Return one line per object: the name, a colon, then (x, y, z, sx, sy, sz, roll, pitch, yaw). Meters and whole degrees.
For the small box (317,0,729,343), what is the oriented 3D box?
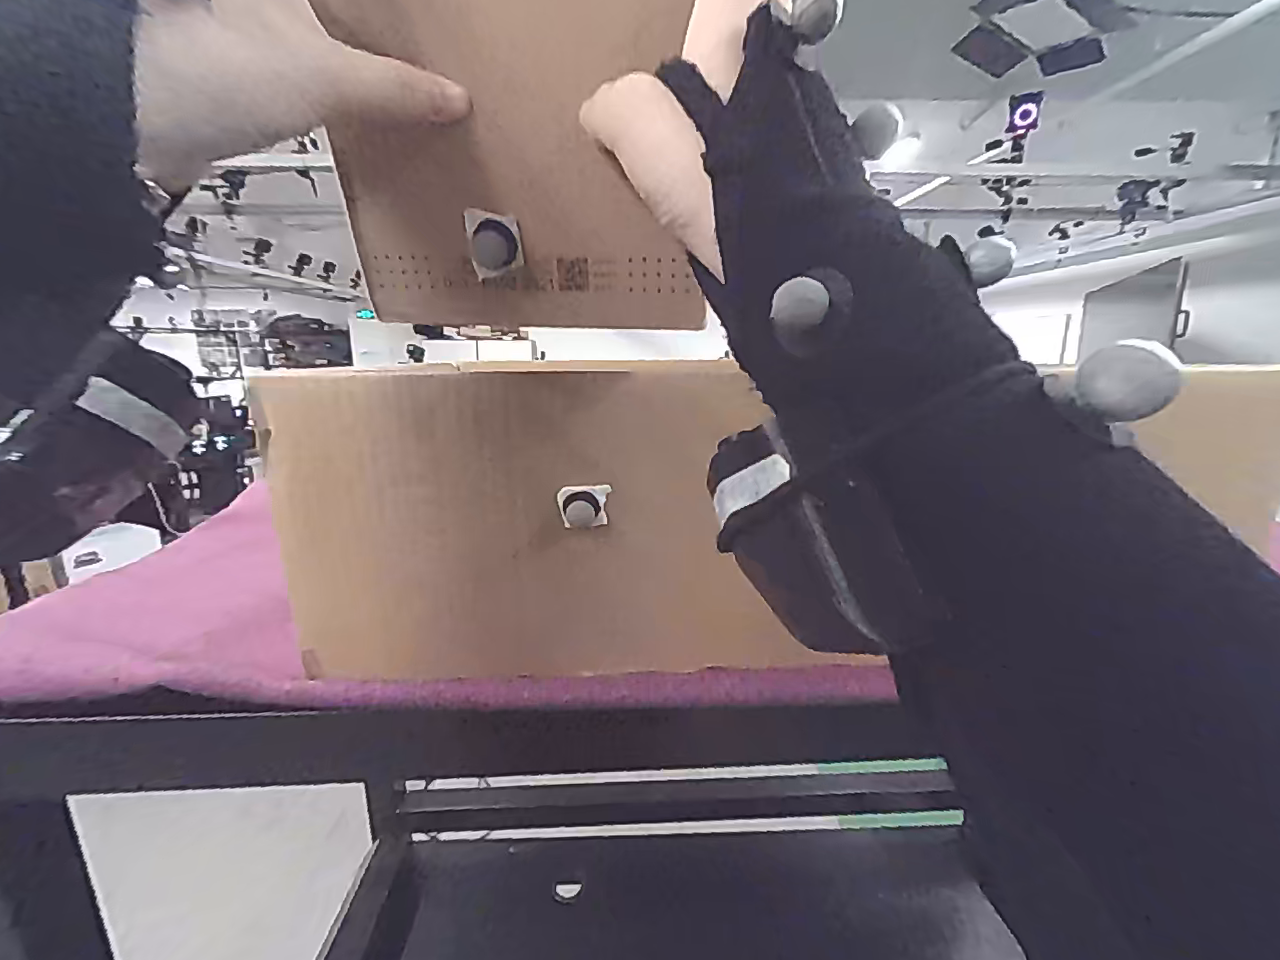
small box: (-0.038, -0.181, 0.290, 0.168, 0.176, 0.179, 1, 31, 8)
